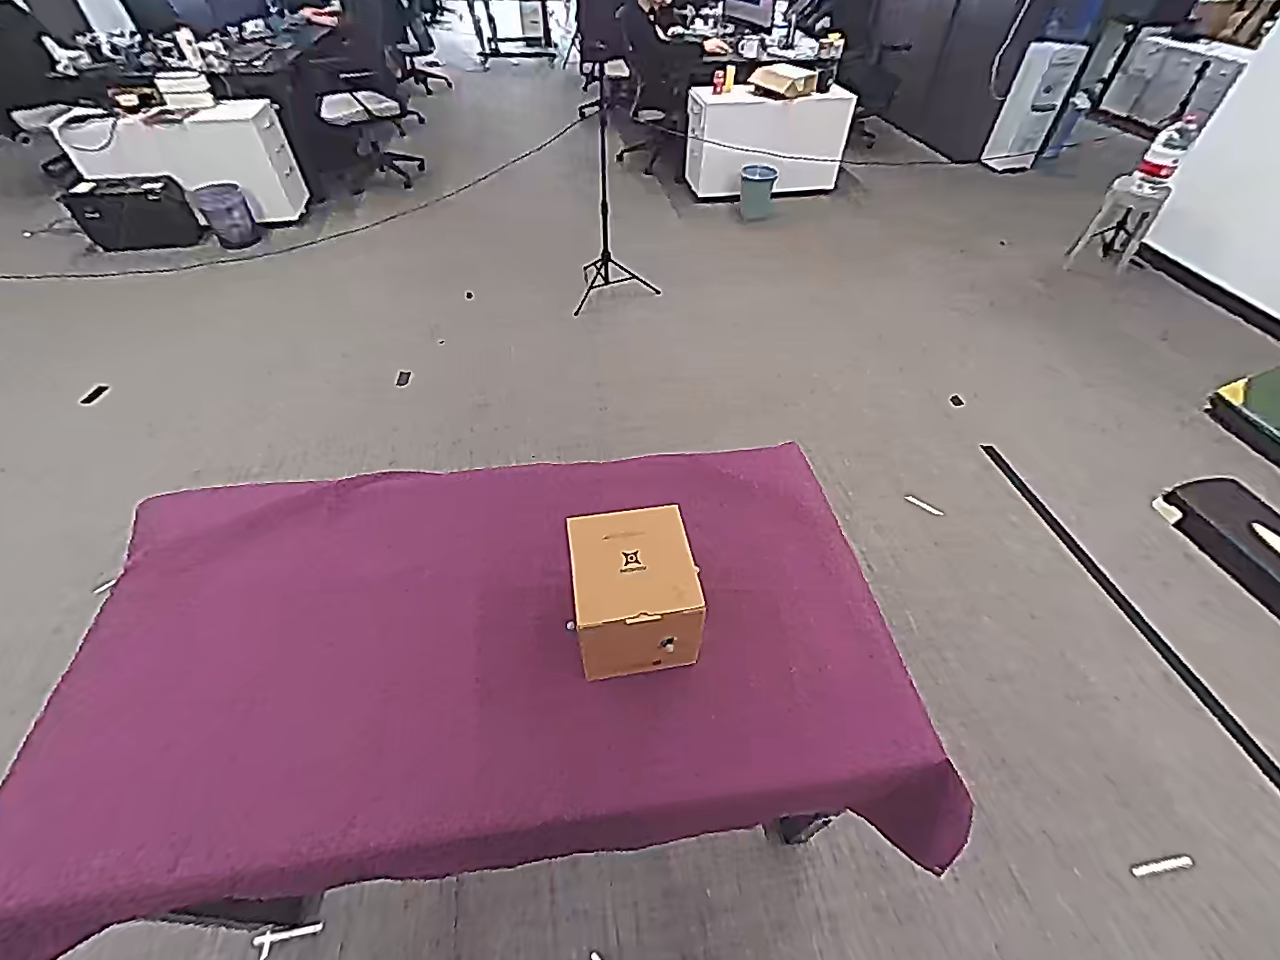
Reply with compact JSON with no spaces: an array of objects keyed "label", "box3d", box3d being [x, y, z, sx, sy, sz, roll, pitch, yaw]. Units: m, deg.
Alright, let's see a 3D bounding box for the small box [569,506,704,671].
[{"label":"small box","box3d":[-0.010,0.163,0.789,0.168,0.176,0.179,-6,48,-7]}]
